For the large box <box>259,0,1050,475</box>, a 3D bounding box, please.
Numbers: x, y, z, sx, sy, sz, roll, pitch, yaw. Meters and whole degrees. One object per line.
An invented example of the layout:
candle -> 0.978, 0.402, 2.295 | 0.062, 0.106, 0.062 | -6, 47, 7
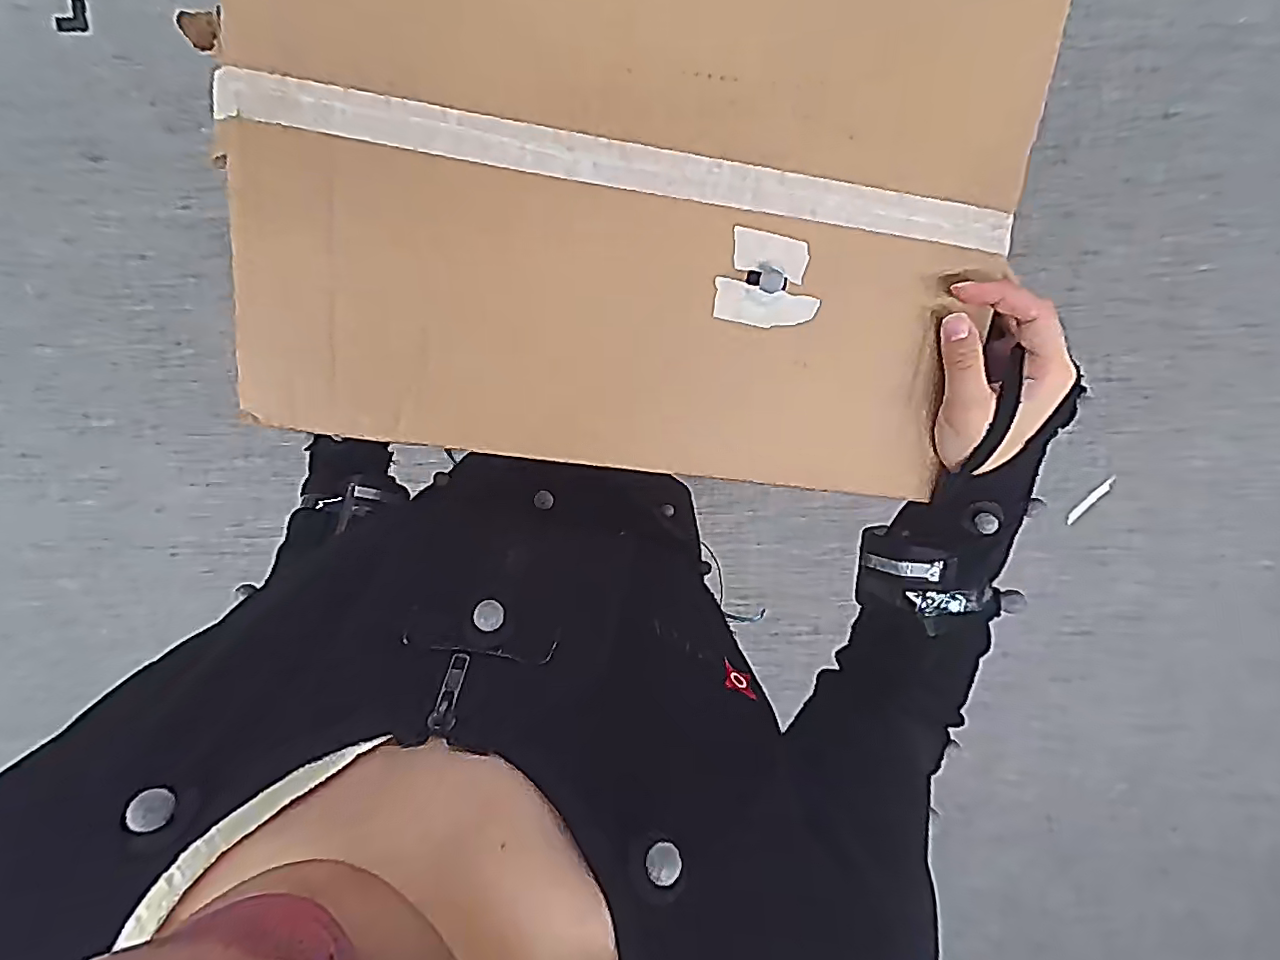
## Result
large box -> -0.007, -0.201, 0.432 | 0.408, 0.320, 0.320 | 6, 103, -9
